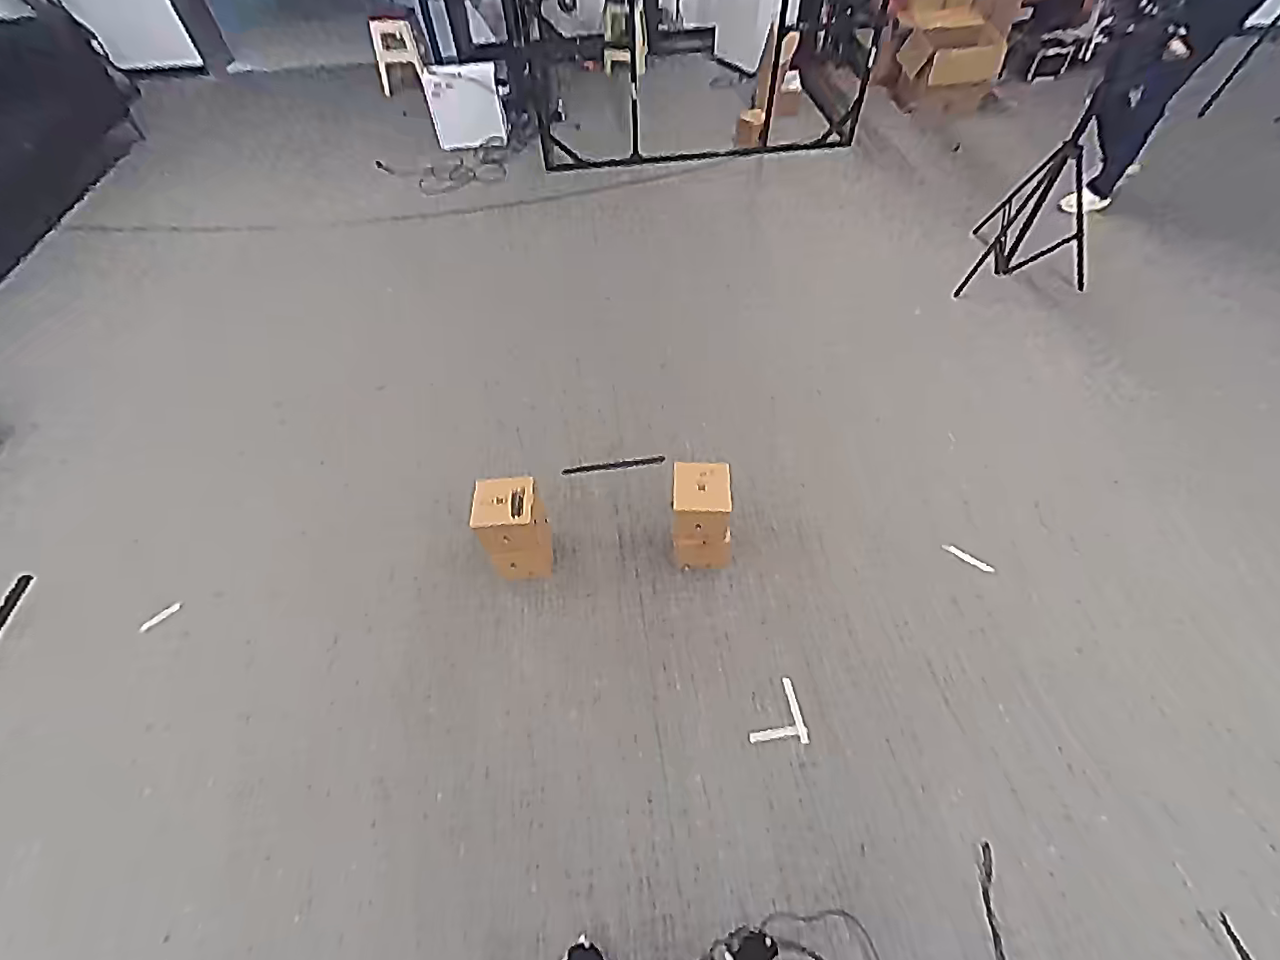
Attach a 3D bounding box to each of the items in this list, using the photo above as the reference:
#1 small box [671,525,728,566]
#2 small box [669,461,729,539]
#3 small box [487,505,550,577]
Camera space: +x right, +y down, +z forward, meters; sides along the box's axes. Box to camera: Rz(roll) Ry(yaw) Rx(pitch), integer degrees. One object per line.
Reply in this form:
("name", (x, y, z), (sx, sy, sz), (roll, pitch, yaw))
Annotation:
("small box", (0.187, 0.170, 1.751), (0.168, 0.176, 0.179), (-3, 53, -1))
("small box", (0.175, 0.063, 1.625), (0.168, 0.176, 0.179), (2, 54, 2))
("small box", (-0.386, 0.204, 1.750), (0.168, 0.176, 0.179), (-5, 53, -1))
